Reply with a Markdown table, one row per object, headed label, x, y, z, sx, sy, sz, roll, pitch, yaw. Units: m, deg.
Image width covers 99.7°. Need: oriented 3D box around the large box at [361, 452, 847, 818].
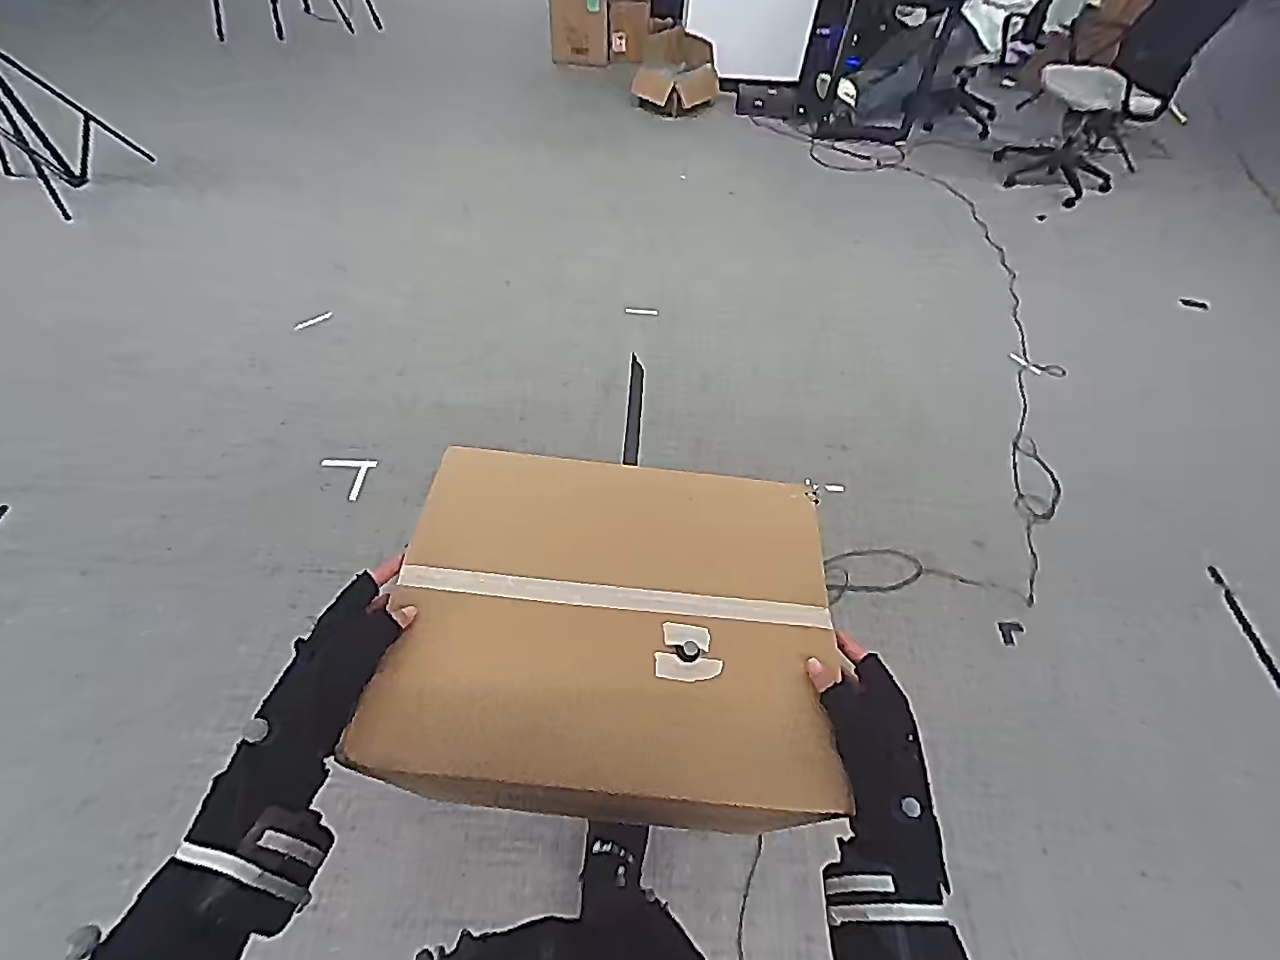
| label | x | y | z | sx | sy | sz | roll | pitch | yaw |
| --- | --- | --- | --- | --- | --- | --- | --- | --- | --- |
| large box | -0.032 | 0.197 | 0.640 | 0.408 | 0.320 | 0.320 | 7 | 55 | -2 |
